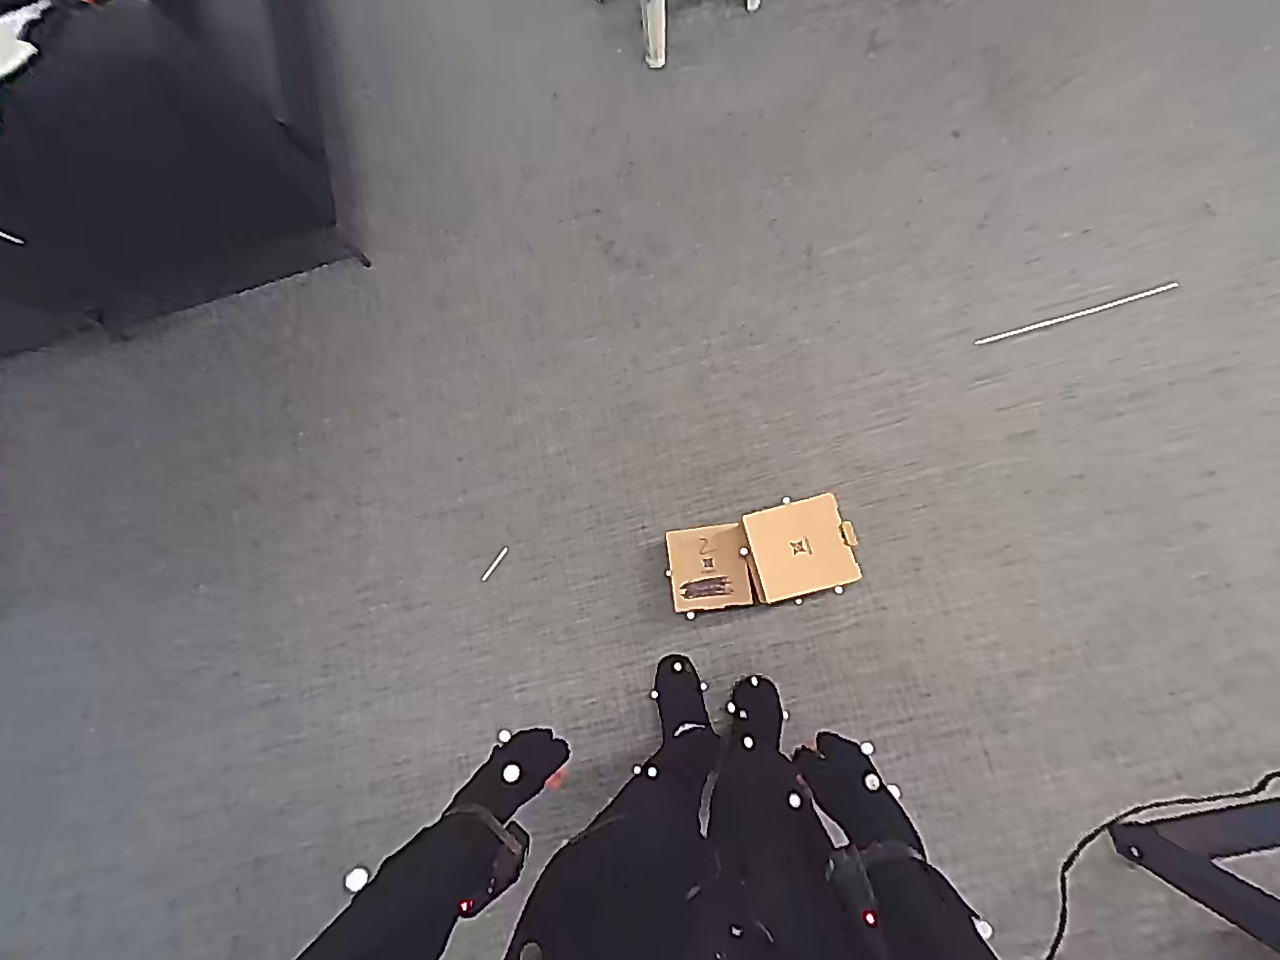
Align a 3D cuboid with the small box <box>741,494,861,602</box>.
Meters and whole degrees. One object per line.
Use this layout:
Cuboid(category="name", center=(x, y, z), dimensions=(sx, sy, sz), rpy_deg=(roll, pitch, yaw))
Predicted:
Cuboid(category="small box", center=(0.303, 0.141, 1.060), dimensions=(0.179, 0.176, 0.168), rpy_deg=(-16, 76, 4))
